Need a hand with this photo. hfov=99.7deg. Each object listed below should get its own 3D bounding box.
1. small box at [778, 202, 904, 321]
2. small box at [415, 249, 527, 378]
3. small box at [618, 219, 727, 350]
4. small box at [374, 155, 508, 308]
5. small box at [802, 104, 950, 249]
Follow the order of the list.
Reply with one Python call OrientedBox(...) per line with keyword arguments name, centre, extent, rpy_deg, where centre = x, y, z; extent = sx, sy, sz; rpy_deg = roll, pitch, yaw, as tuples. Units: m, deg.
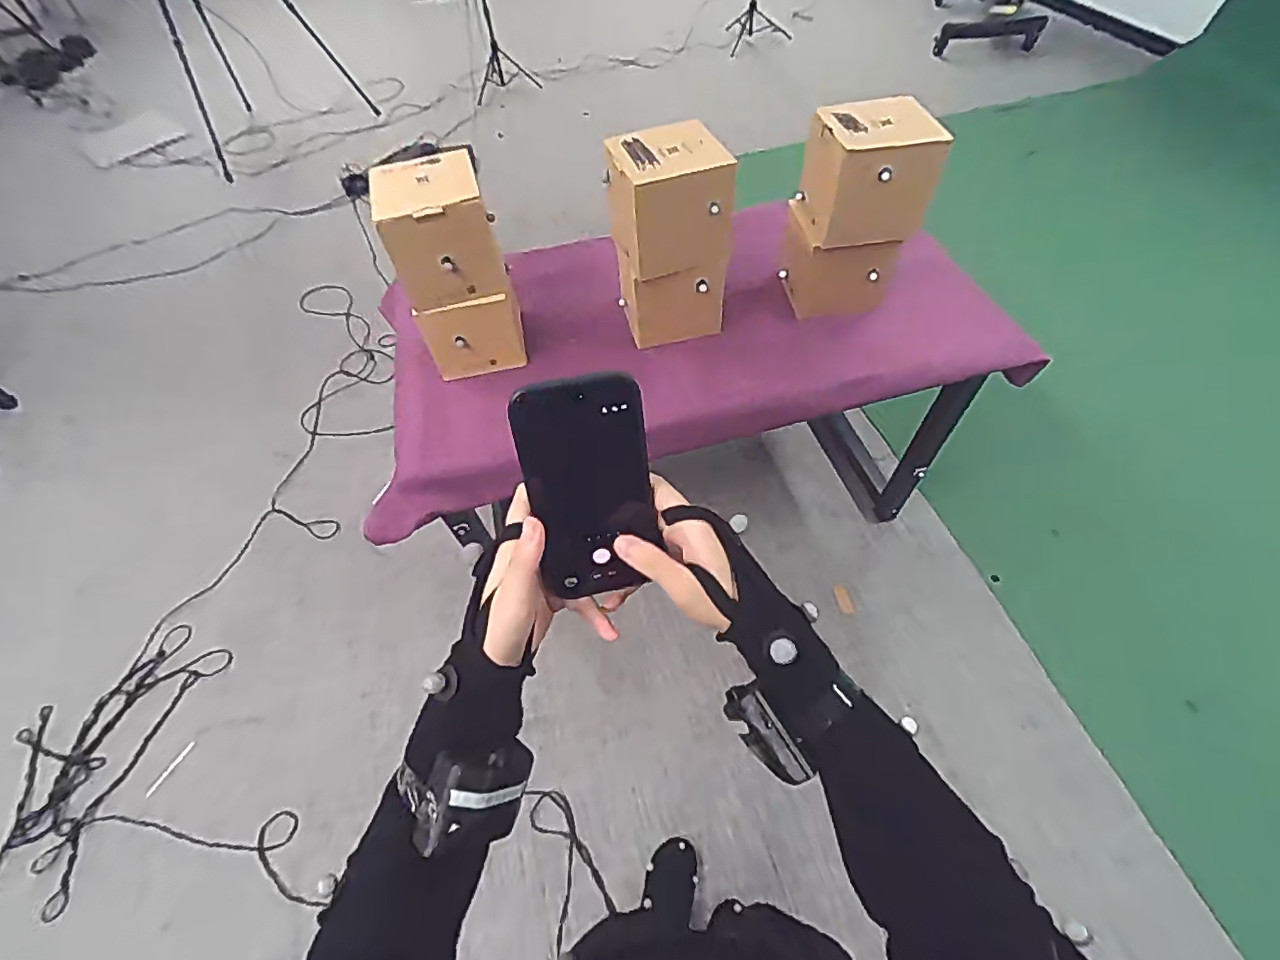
OrientedBox(name="small box", centre=(0.395, -0.445, 1.094), extent=(0.179, 0.176, 0.168), rpy_deg=(-7, 55, -1))
OrientedBox(name="small box", centre=(-0.324, -0.317, 1.058), extent=(0.168, 0.176, 0.179), rpy_deg=(-12, 55, -4))
OrientedBox(name="small box", centre=(0.060, -0.384, 1.075), extent=(0.179, 0.176, 0.168), rpy_deg=(-12, 55, -4))
OrientedBox(name="small box", centre=(-0.336, -0.417, 0.928), extent=(0.168, 0.176, 0.179), rpy_deg=(-16, 57, -7))
OrientedBox(name="small box", centre=(0.397, -0.528, 0.952), extent=(0.179, 0.176, 0.168), rpy_deg=(-7, 55, -2))
